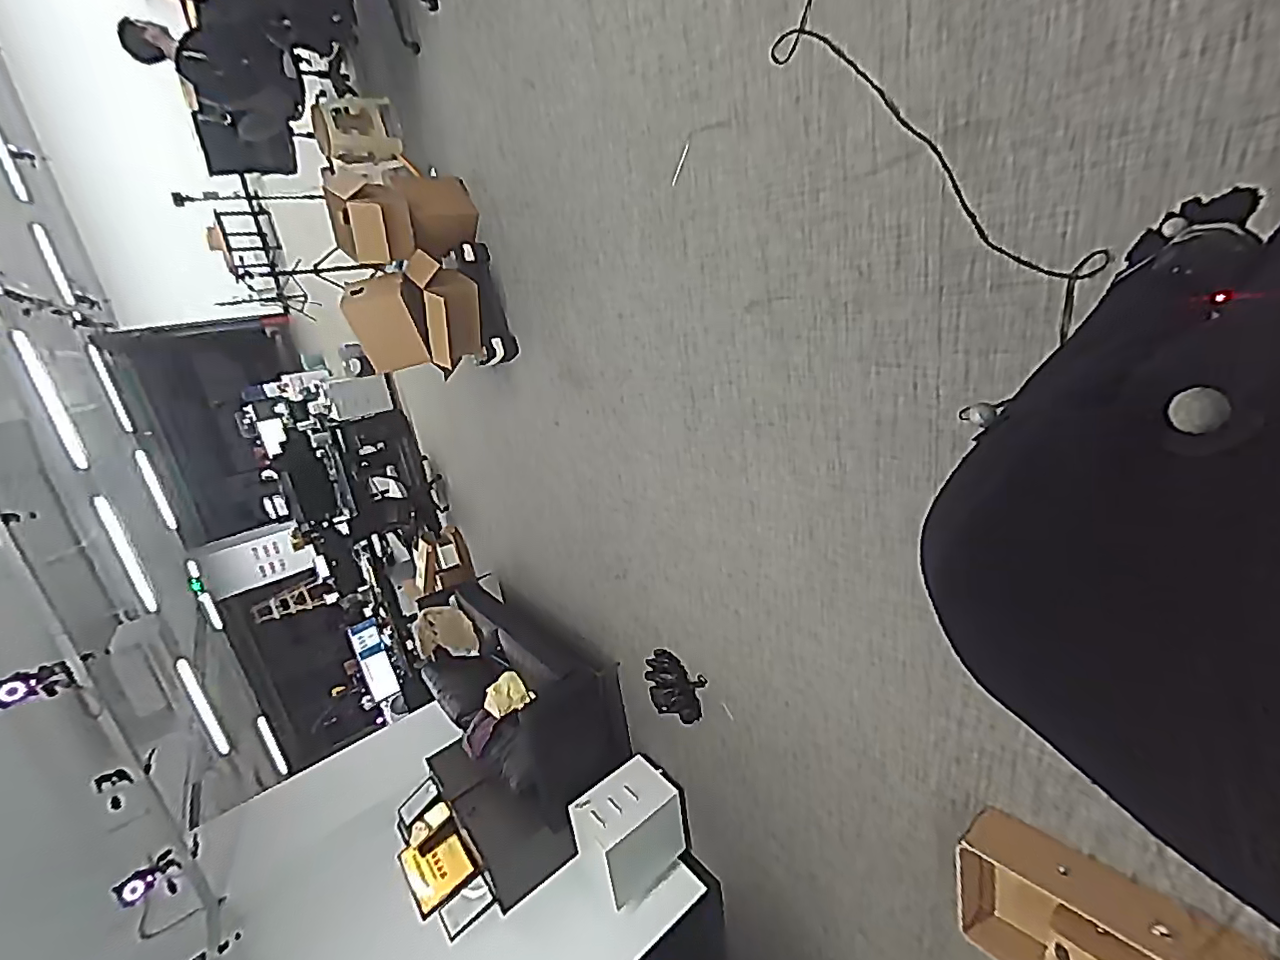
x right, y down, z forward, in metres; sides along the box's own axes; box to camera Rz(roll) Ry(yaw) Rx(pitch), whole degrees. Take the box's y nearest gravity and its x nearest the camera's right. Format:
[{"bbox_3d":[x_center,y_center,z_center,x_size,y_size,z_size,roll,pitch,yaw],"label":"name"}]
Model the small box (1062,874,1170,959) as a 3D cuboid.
[{"bbox_3d":[1.250,1.191,1.423,0.179,0.176,0.168,12,120,51],"label":"small box"}]
